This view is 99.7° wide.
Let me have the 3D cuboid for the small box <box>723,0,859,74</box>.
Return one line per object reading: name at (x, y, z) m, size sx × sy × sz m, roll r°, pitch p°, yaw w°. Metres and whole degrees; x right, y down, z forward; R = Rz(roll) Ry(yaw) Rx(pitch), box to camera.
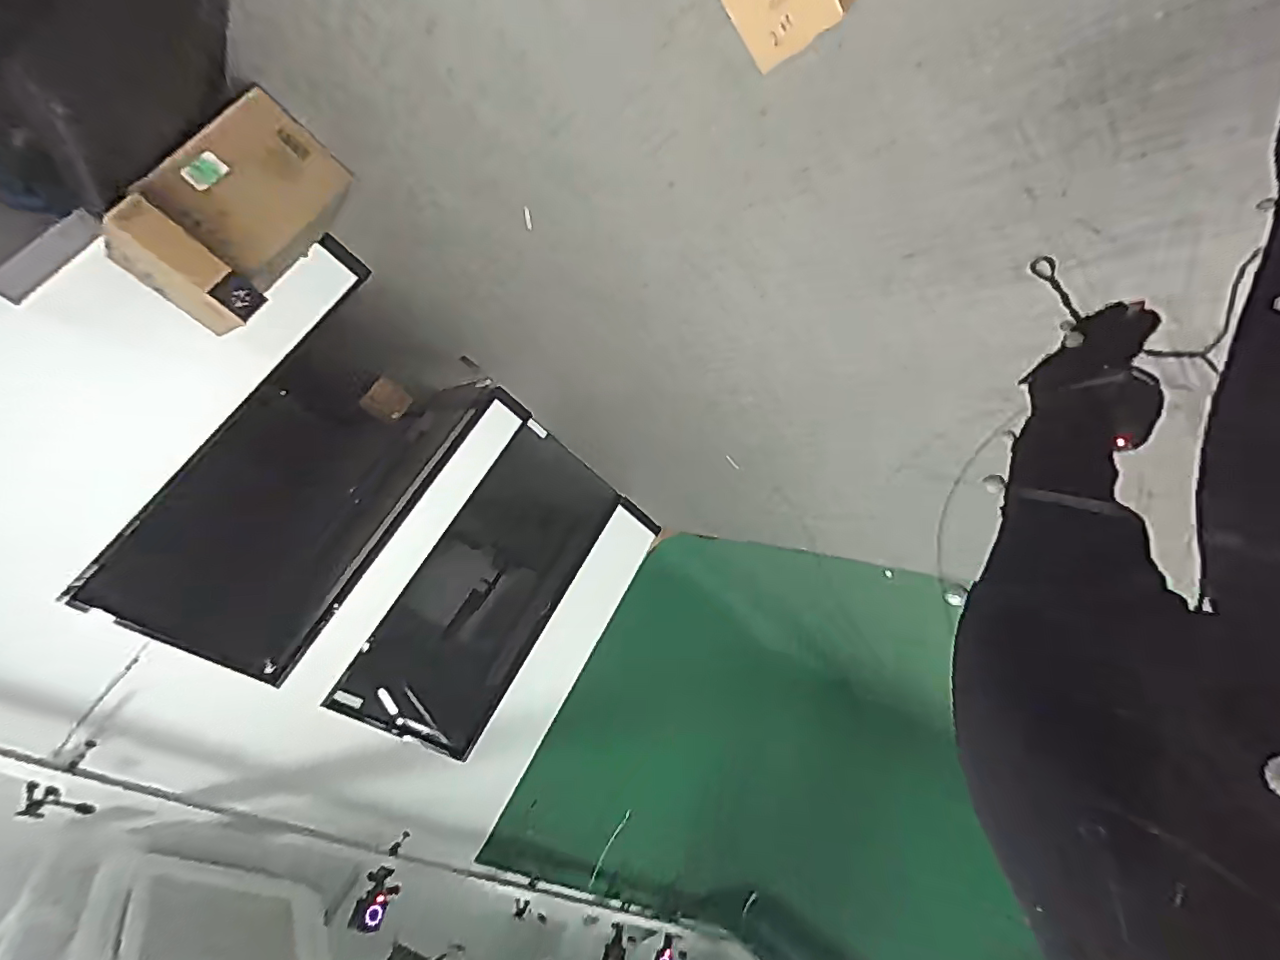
small box at (0.252, -0.823, 0.870) m, size 0.179 × 0.176 × 0.168 m, roll 43°, pitch 159°, yaw -30°
